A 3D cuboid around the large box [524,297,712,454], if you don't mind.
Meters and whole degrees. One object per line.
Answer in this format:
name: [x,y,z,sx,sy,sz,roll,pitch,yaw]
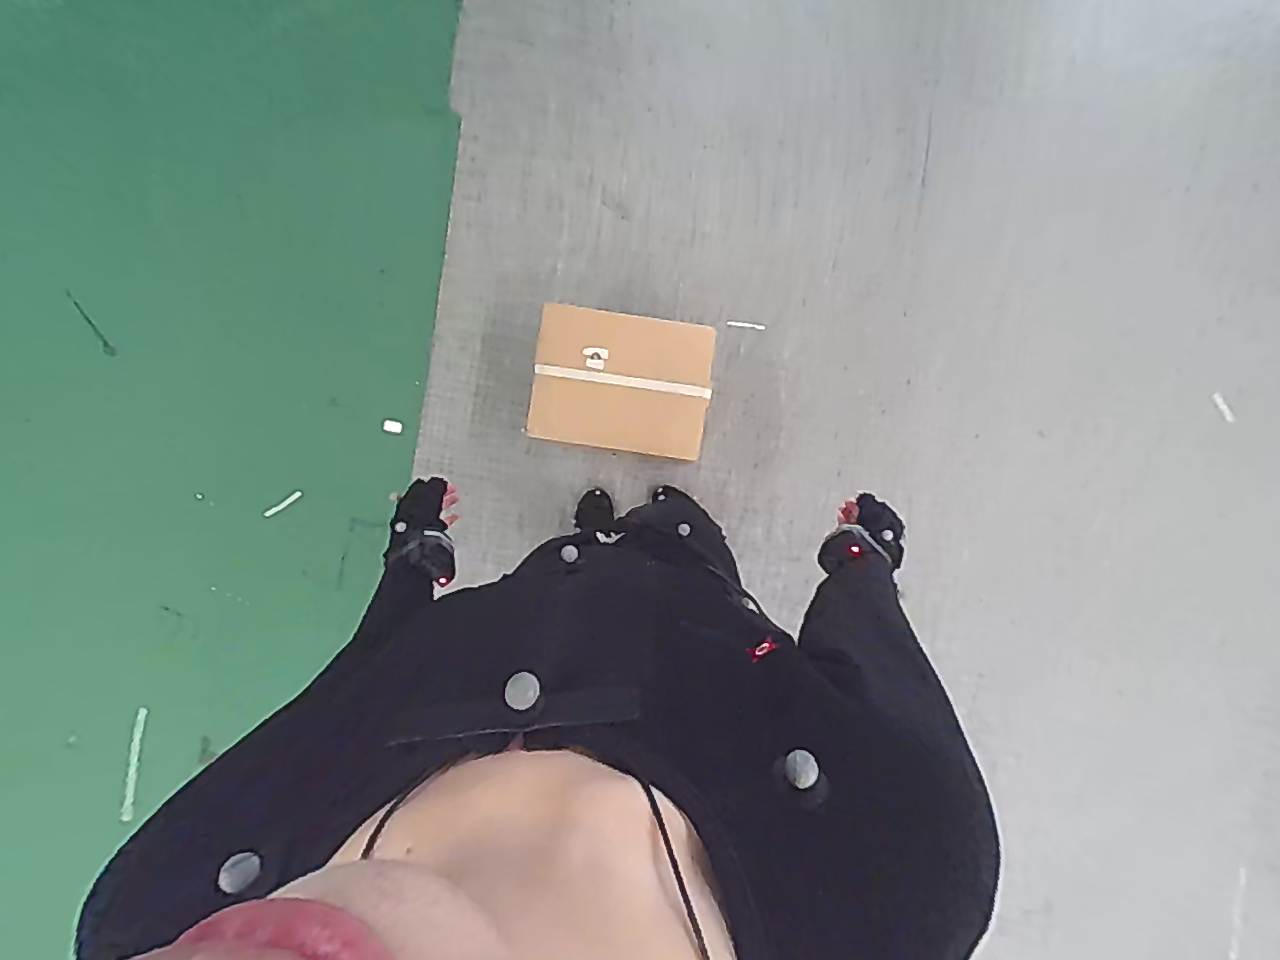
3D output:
large box: [-0.050,-0.243,1.380,0.408,0.320,0.320,8,90,-1]
